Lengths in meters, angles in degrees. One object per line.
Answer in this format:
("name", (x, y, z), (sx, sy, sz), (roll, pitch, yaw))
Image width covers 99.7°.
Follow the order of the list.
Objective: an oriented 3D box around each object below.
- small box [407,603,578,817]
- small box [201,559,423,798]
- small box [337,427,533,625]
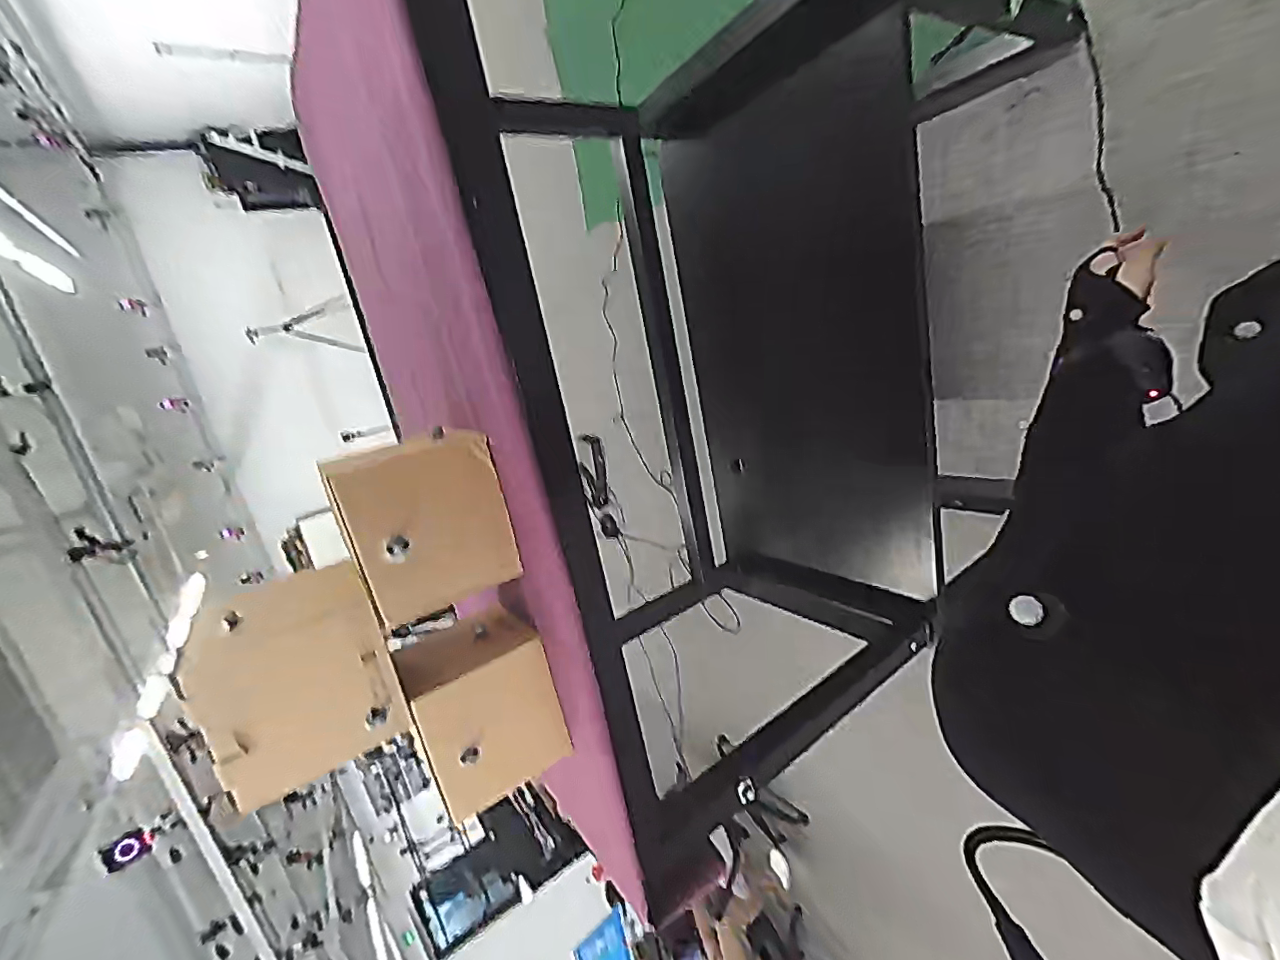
("small box", (-0.202, 0.296, 0.738), (0.168, 0.176, 0.179), (7, 113, 56))
("small box", (-0.366, 0.208, 0.626), (0.179, 0.176, 0.168), (14, 118, 56))
("small box", (-0.249, 0.043, 0.665), (0.168, 0.176, 0.179), (11, 117, 56))
